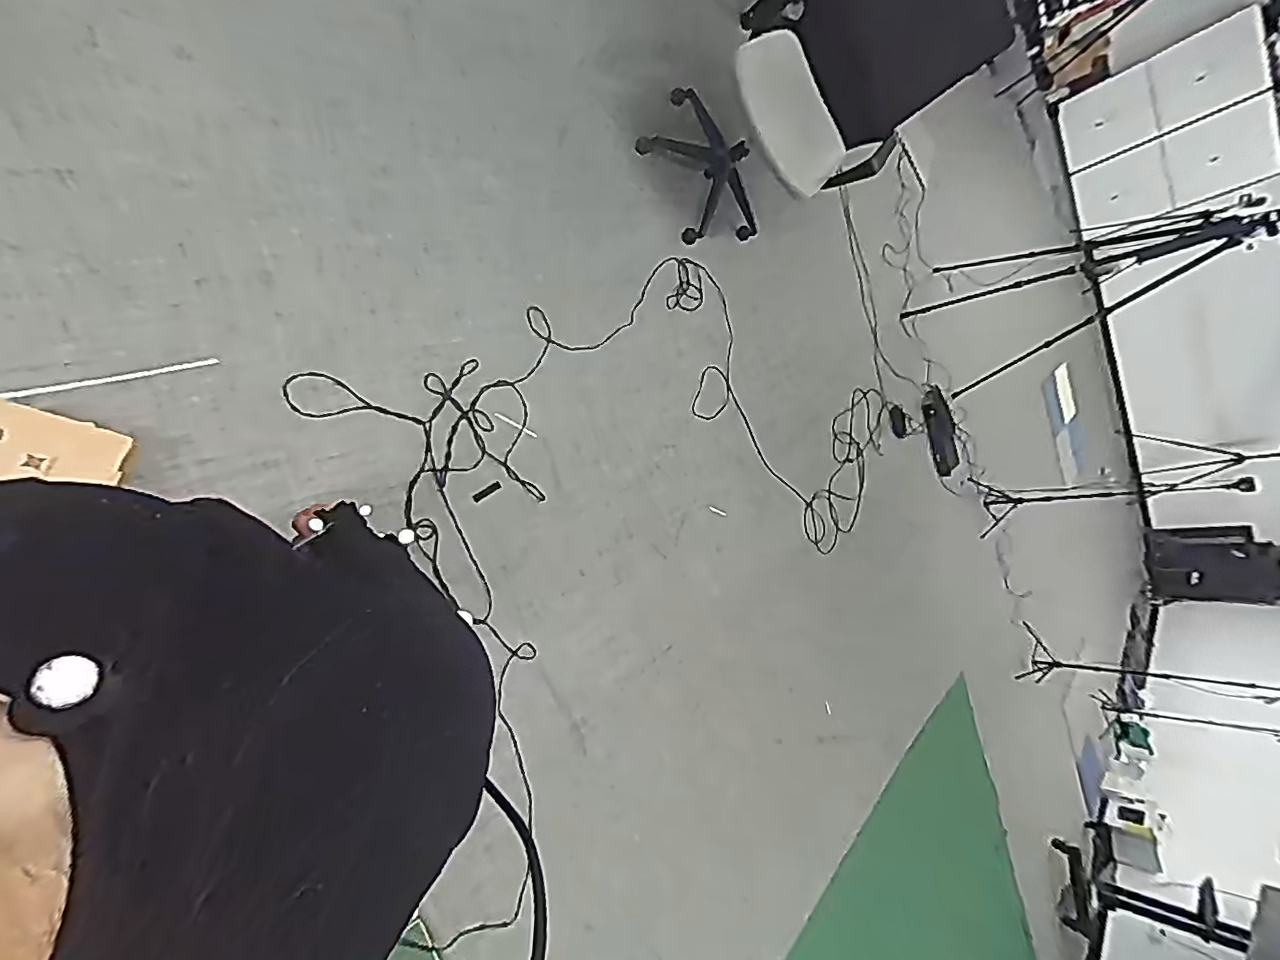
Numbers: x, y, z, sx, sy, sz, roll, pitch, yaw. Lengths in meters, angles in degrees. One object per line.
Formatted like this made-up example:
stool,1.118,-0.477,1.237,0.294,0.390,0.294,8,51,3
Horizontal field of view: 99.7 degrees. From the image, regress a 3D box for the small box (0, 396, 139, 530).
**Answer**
small box,-0.987,-0.017,0.908,0.179,0.176,0.168,25,68,-35
